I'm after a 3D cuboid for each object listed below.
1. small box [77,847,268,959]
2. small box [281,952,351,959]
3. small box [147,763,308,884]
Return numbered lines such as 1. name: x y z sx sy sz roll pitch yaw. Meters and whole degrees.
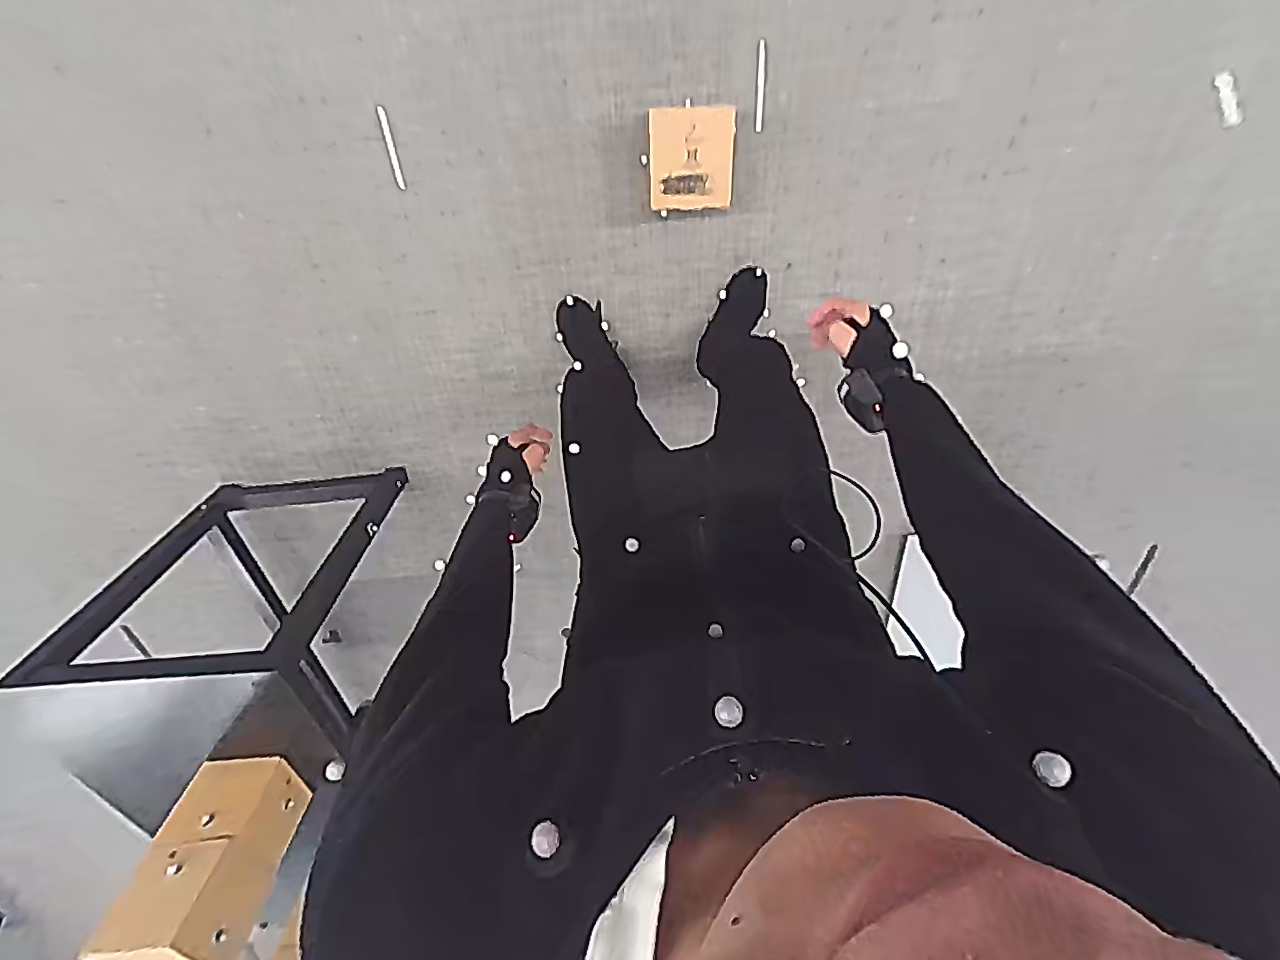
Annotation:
1. small box: -0.838 0.808 0.995 0.168 0.176 0.179 -8 122 3
2. small box: -0.795 1.258 1.285 0.179 0.176 0.168 -6 123 2
3. small box: -0.848 0.720 1.133 0.179 0.176 0.168 -5 123 2
